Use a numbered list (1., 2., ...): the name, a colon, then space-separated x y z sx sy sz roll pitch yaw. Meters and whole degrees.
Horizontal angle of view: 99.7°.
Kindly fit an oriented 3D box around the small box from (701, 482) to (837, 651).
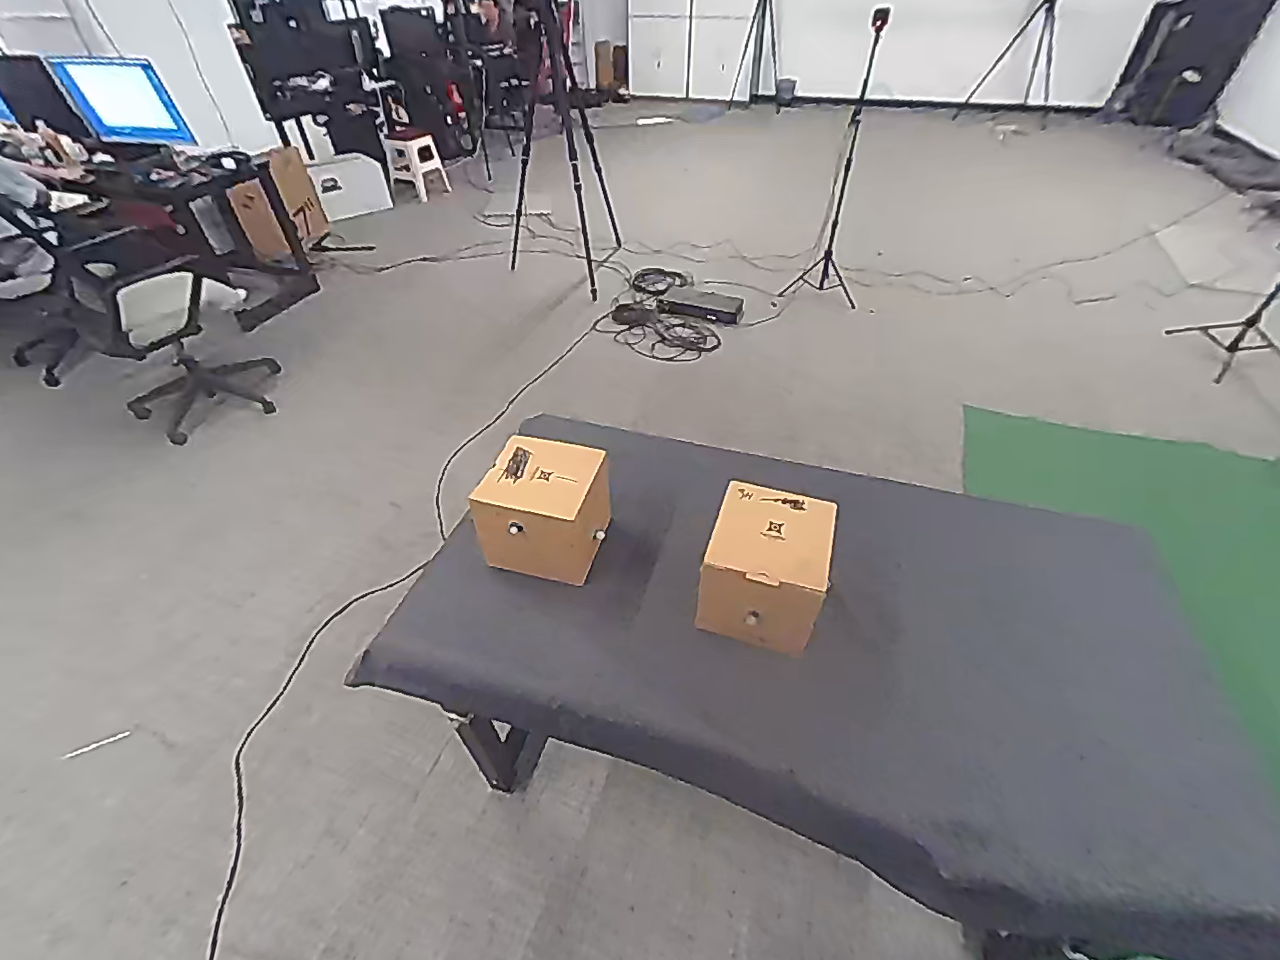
1. small box: 0.194 0.134 0.835 0.168 0.176 0.179 13 46 15

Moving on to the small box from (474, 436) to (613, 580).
1. small box: -0.154 0.050 0.929 0.179 0.176 0.168 11 45 11
